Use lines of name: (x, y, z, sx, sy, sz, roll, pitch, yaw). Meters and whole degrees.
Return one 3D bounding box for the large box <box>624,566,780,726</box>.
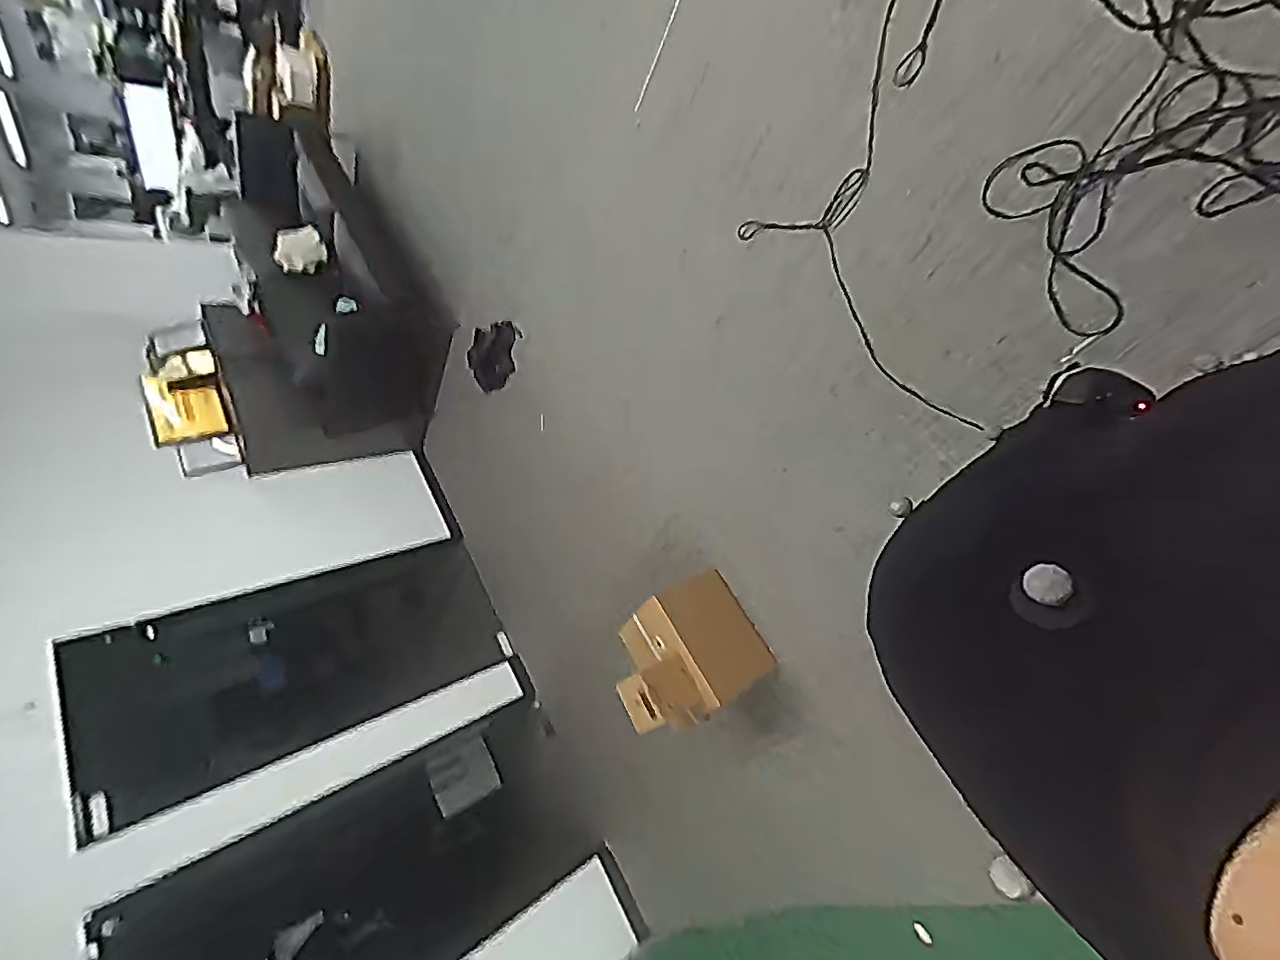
large box: (0.213, 0.582, 1.926, 0.408, 0.320, 0.320, 58, 137, 23)
